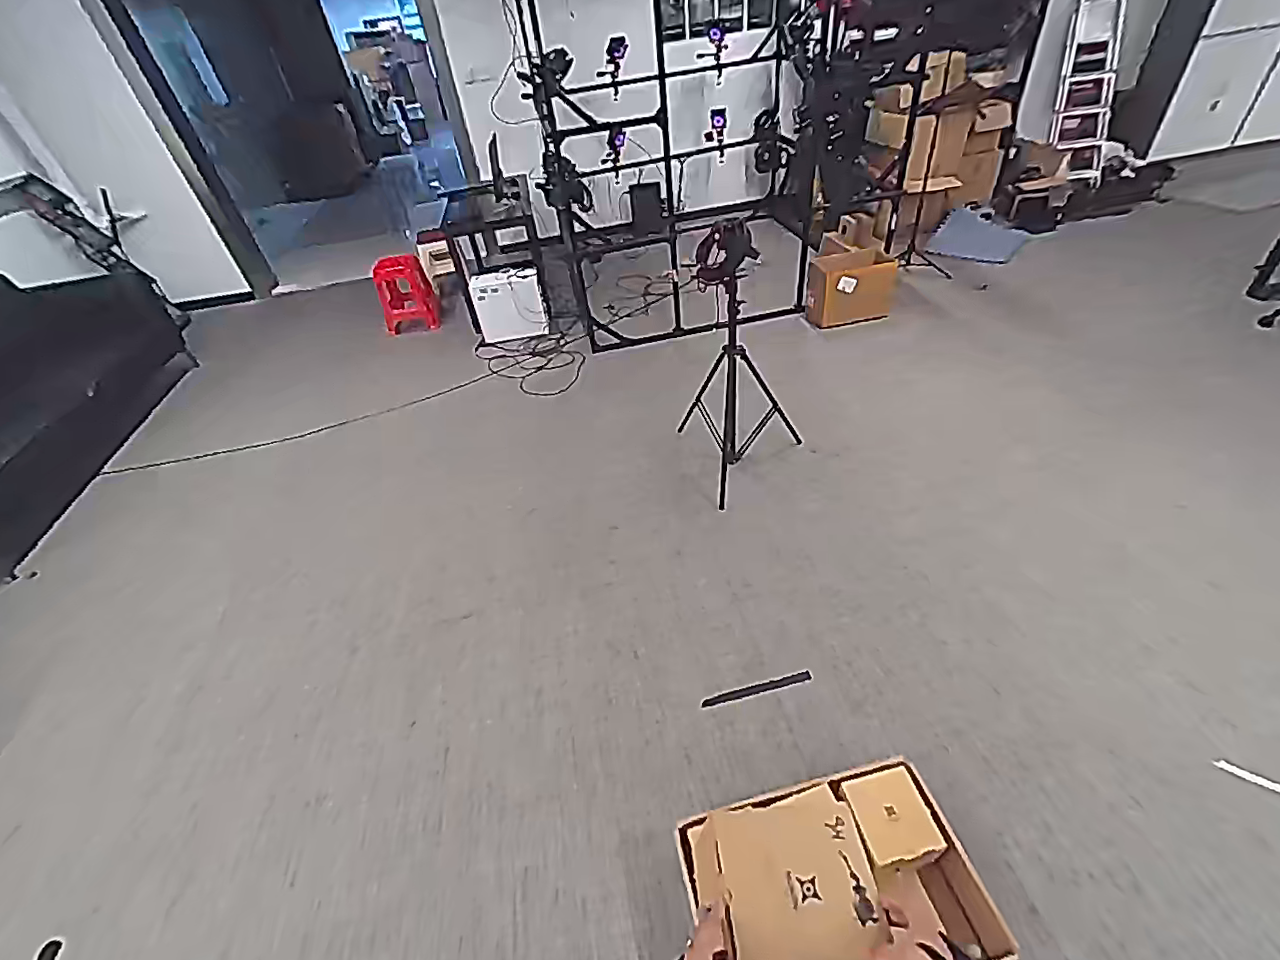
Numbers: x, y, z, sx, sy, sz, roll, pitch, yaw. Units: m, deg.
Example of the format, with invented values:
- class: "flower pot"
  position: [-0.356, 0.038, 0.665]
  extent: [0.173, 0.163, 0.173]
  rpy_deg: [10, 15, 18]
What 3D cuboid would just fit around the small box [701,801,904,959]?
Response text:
- class: "small box"
  position: [0.172, 0.505, 0.641]
  extent: [0.179, 0.176, 0.168]
  rpy_deg: [-1, 43, -6]
